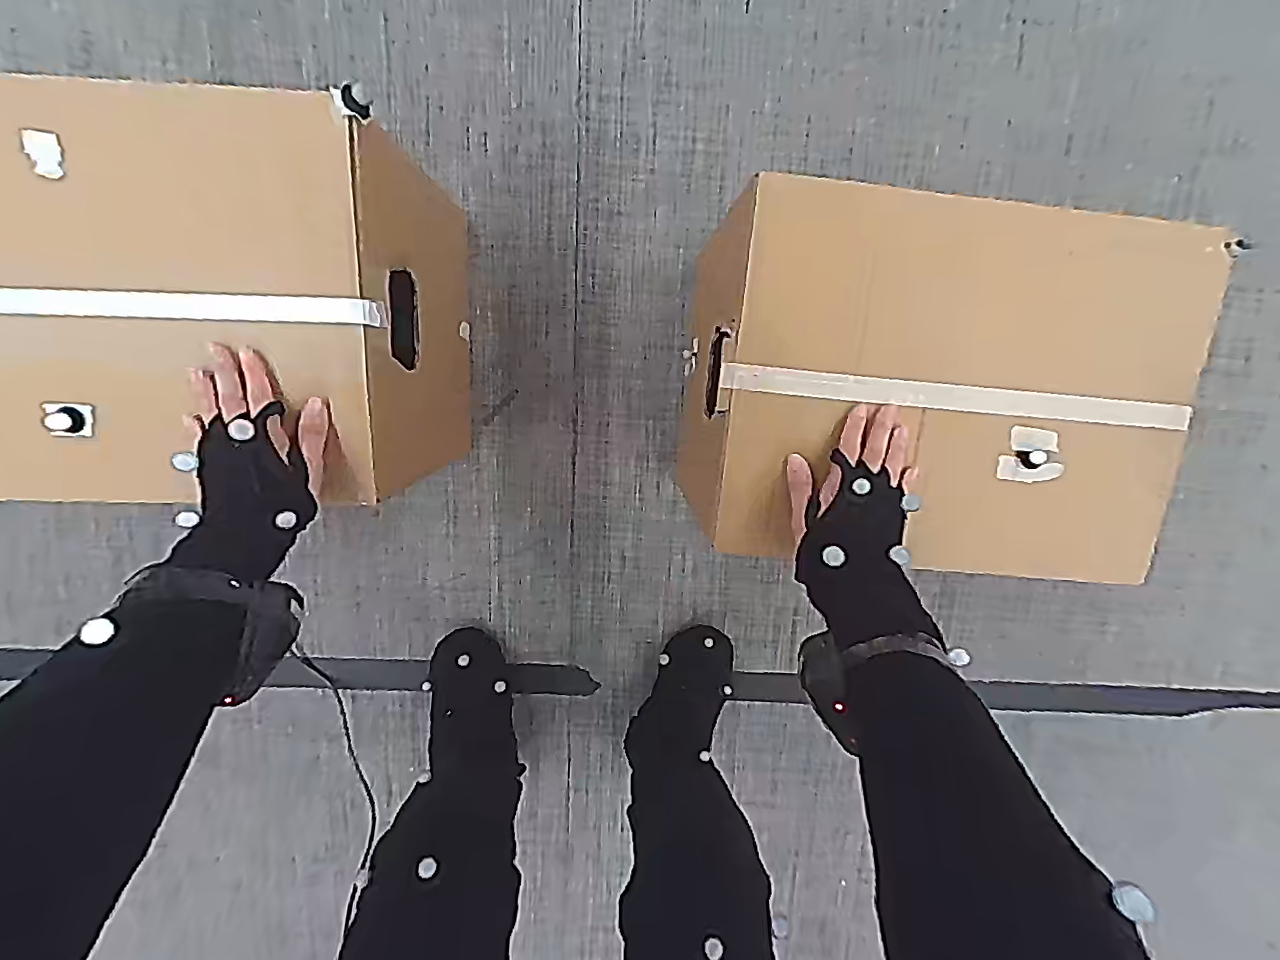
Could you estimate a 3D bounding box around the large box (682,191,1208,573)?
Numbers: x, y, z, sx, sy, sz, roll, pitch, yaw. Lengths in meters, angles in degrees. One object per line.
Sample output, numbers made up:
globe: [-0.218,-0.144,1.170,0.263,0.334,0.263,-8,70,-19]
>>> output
large box: [0.274,-0.099,0.625,0.408,0.320,0.320,5,101,-4]
